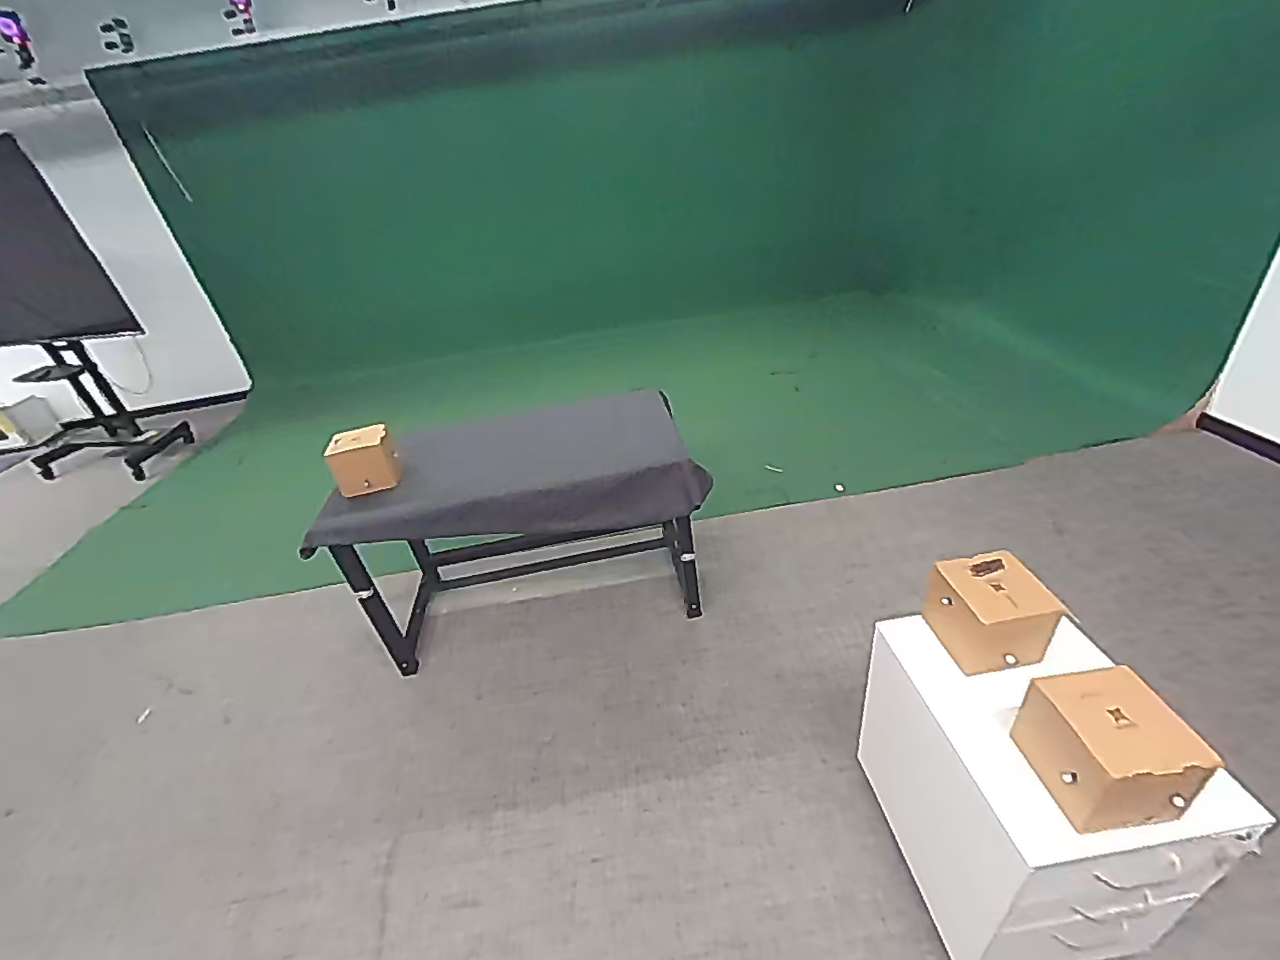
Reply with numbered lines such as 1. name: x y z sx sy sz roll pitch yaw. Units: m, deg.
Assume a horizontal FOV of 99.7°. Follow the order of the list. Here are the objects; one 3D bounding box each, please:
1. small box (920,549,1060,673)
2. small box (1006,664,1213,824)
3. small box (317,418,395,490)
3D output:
1. small box: 0.723 0.275 1.143 0.168 0.176 0.179 -10 35 -2
2. small box: 0.754 0.439 0.895 0.168 0.176 0.179 -8 31 -1
3. small box: -0.944 -0.087 1.819 0.179 0.176 0.168 -13 33 -10
